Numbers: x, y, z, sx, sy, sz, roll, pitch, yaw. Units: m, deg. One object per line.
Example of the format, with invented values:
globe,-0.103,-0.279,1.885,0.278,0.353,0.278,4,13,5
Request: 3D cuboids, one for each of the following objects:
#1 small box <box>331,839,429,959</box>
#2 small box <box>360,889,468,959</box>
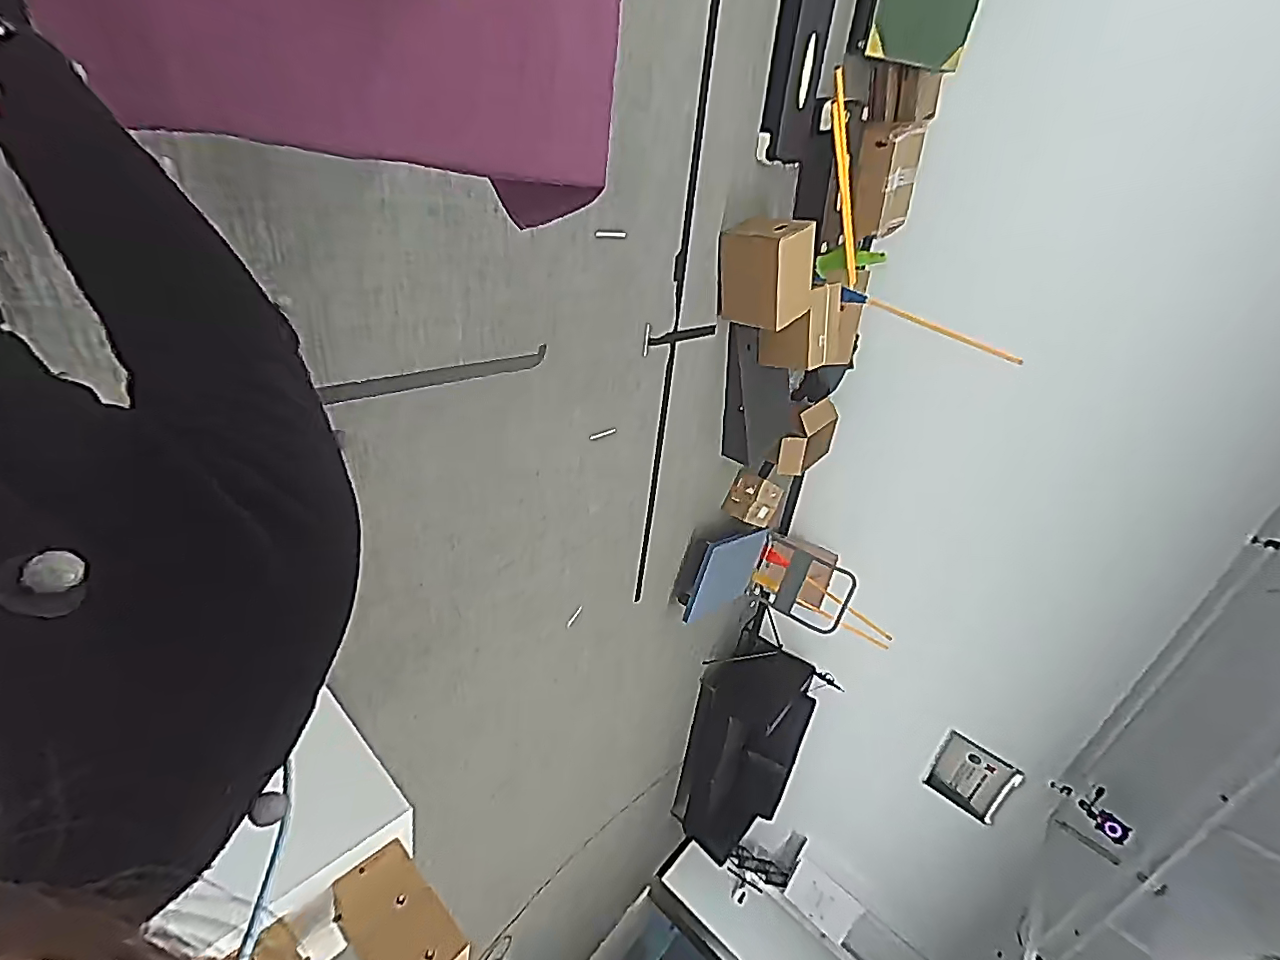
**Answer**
small box,-0.653,1.059,1.355,0.168,0.176,0.179,-17,128,-48
small box,-0.529,1.121,1.264,0.179,0.176,0.168,-18,127,-47
